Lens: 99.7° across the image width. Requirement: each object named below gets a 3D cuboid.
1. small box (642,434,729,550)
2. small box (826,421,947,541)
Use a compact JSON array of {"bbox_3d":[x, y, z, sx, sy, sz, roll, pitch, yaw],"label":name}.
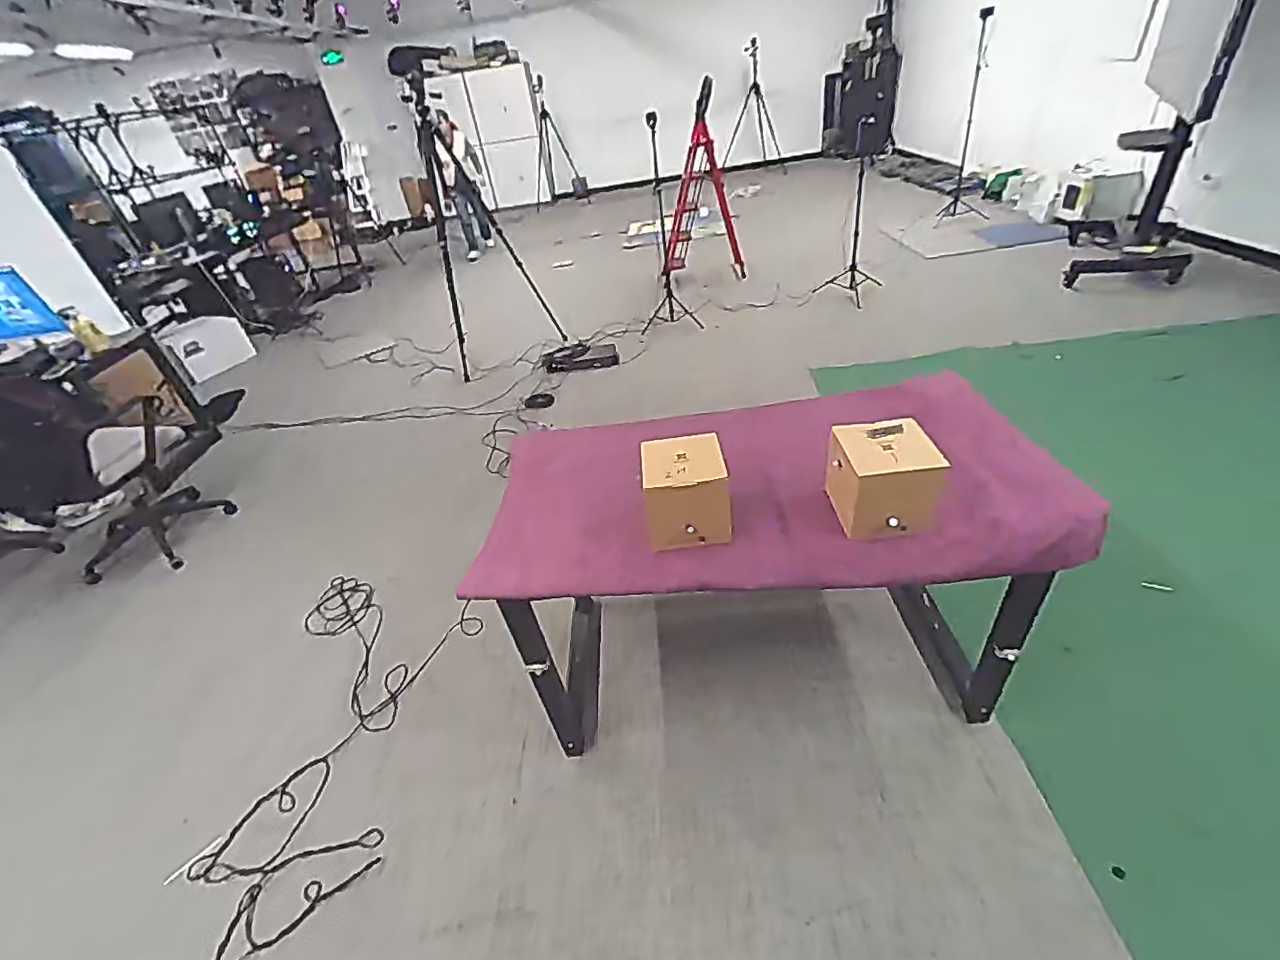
[{"bbox_3d":[0.094,0.025,1.148,0.168,0.176,0.179,-7,35,3],"label":"small box"},{"bbox_3d":[0.485,0.002,1.097,0.168,0.176,0.179,-6,37,4],"label":"small box"}]
